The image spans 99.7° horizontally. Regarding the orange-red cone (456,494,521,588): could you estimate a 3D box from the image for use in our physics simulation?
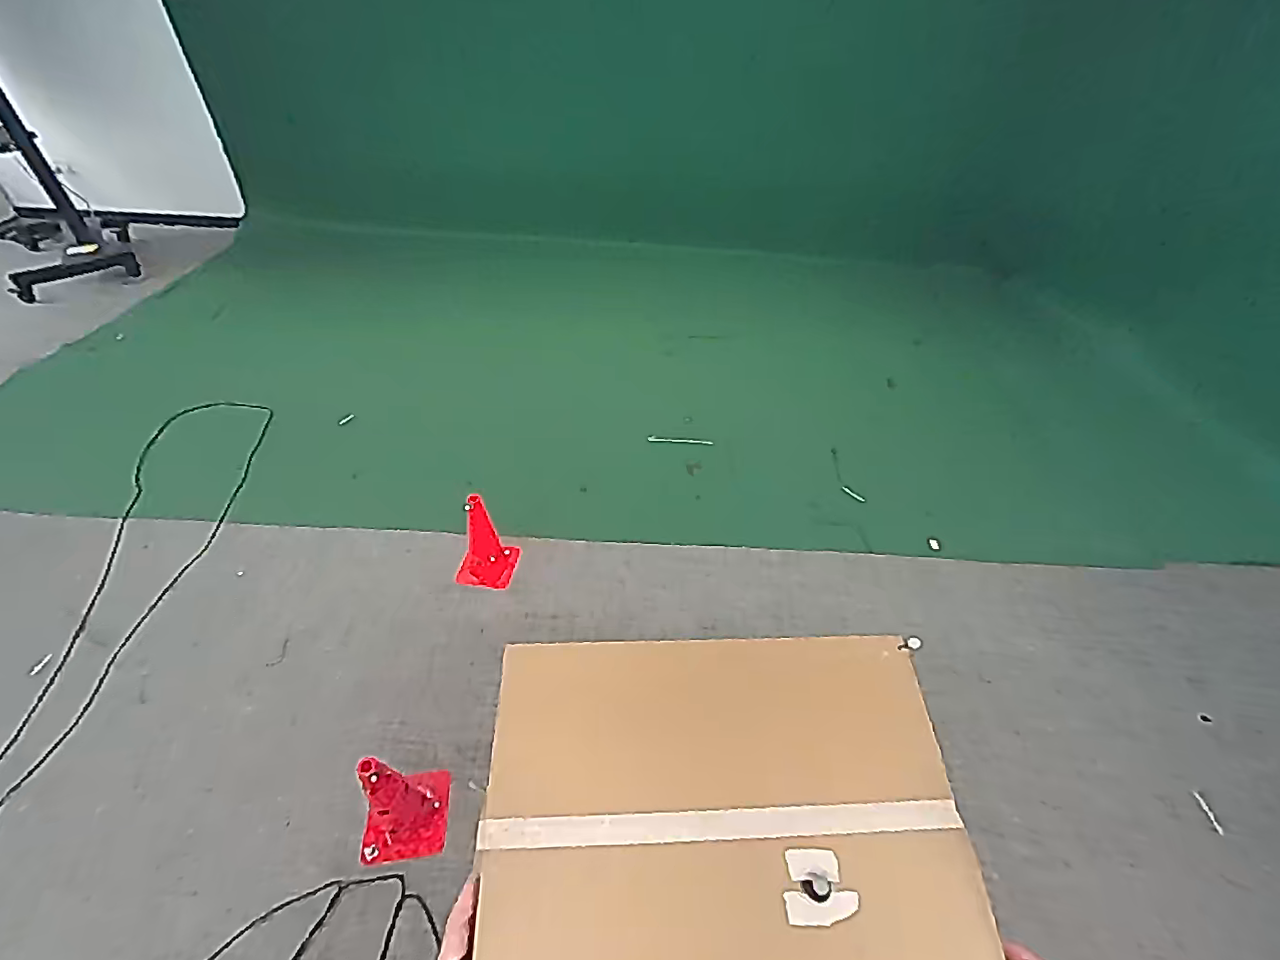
[{"bbox_3d":[-0.558,0.191,1.902,0.199,0.360,0.198,7,42,6],"label":"orange-red cone"}]

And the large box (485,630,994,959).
[{"bbox_3d":[0.067,0.373,0.595,0.408,0.320,0.320,-1,57,-3],"label":"large box"}]
